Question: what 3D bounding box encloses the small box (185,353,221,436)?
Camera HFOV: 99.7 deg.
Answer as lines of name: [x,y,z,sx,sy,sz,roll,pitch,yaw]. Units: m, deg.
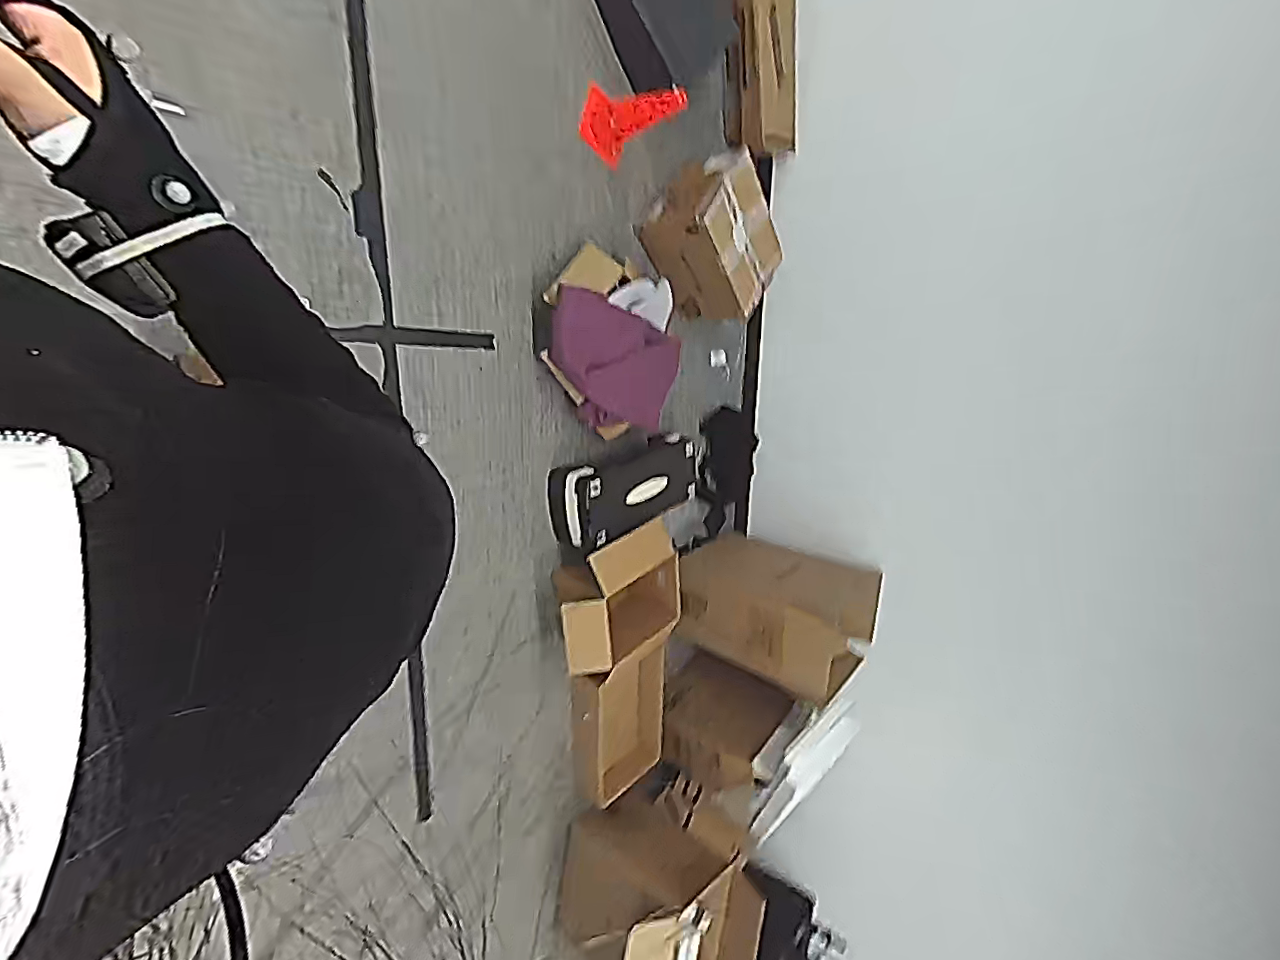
small box: [-0.867,-0.193,1.184,0.179,0.176,0.168,-16,112,-46]
